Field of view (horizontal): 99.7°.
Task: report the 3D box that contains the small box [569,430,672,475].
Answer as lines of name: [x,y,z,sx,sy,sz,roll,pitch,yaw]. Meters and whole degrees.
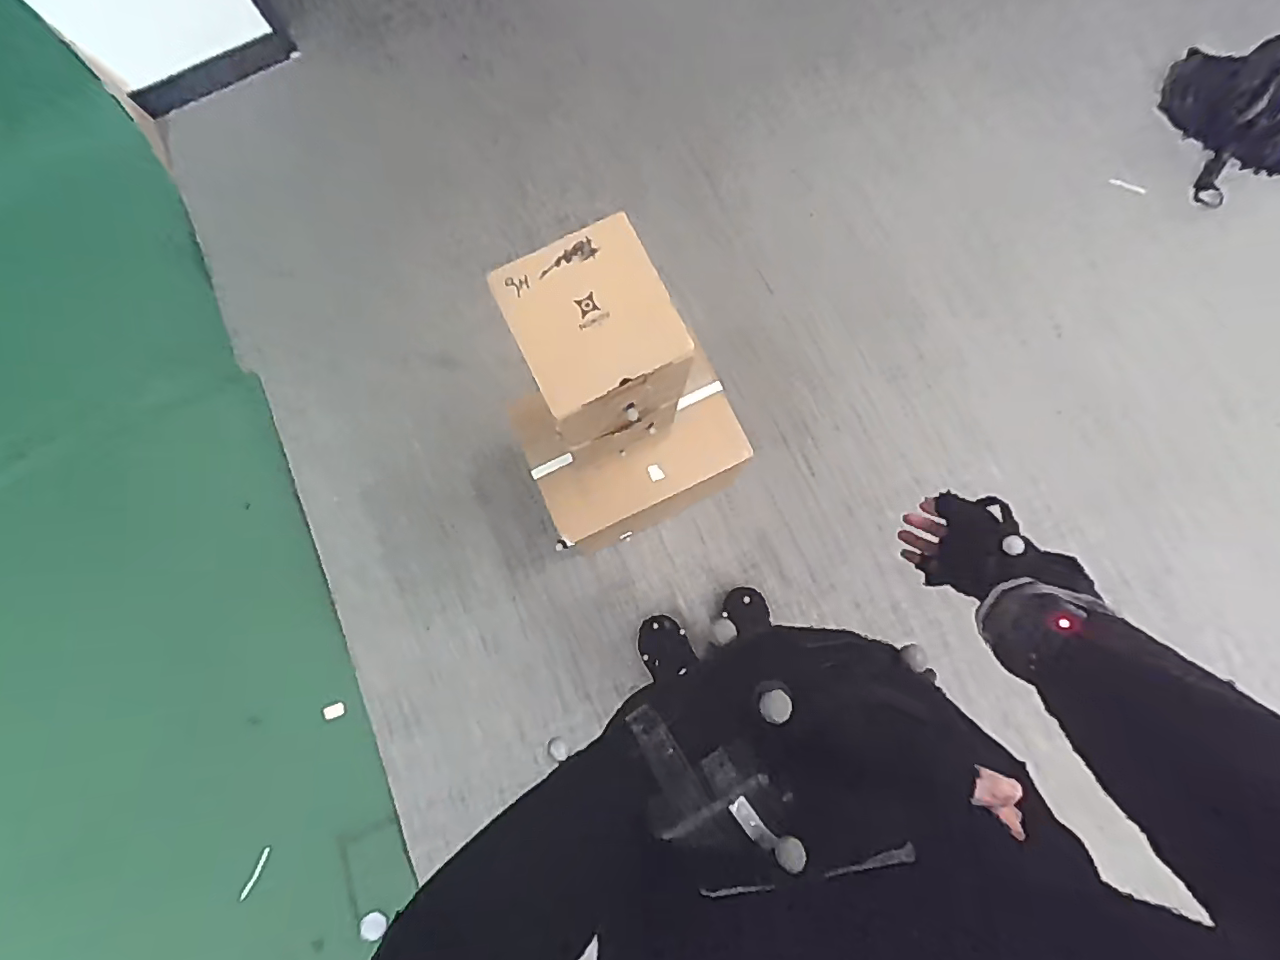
small box: [-0.052,-0.119,0.972,0.179,0.176,0.168,-19,82,-1]

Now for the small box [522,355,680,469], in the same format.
small box: [-0.053,-0.128,0.813,0.168,0.176,0.179,-27,83,-4]

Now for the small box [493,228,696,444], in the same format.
small box: [-0.047,-0.154,0.651,0.168,0.176,0.179,-26,84,-3]
